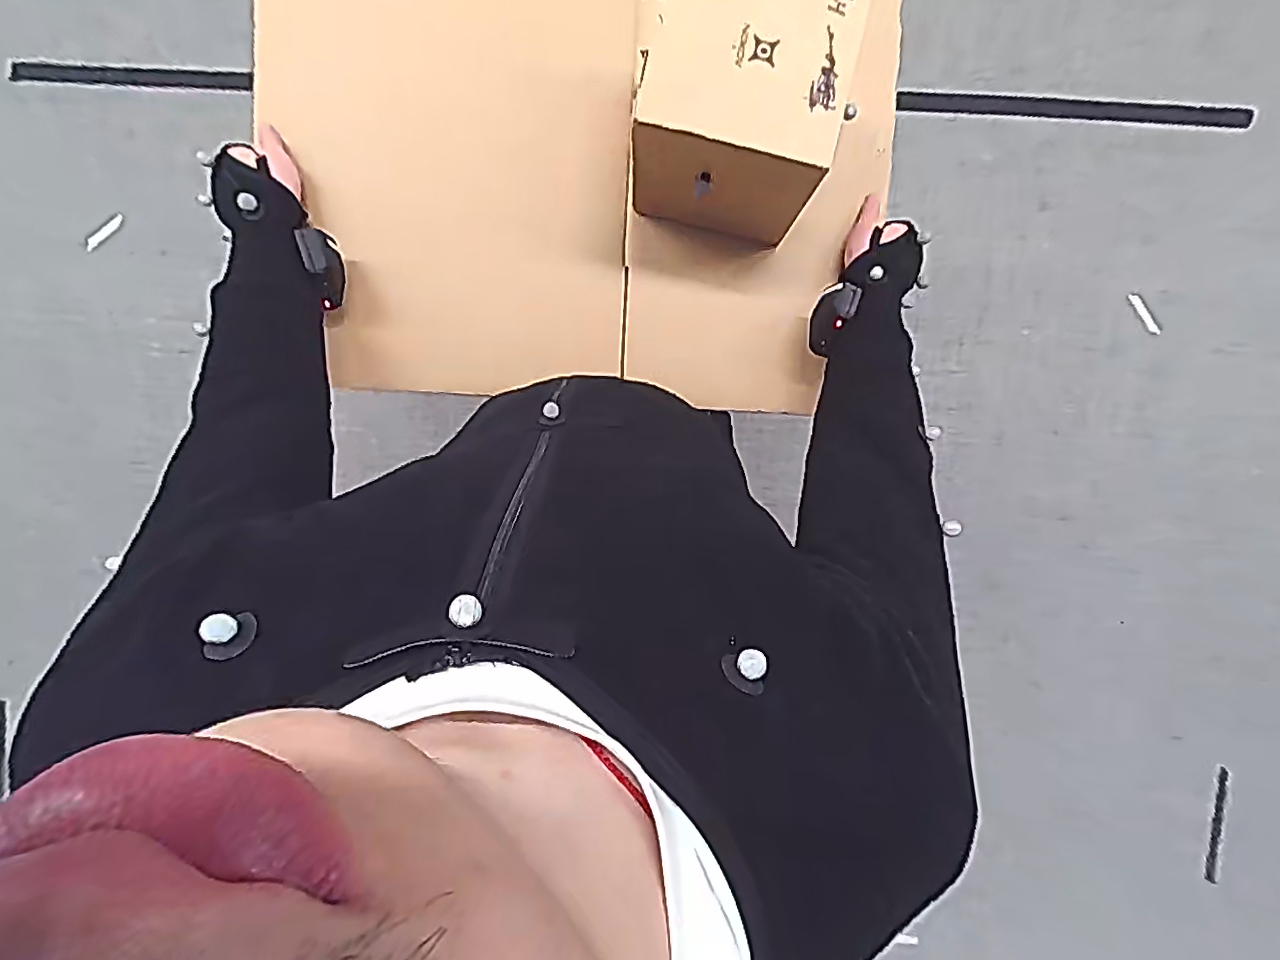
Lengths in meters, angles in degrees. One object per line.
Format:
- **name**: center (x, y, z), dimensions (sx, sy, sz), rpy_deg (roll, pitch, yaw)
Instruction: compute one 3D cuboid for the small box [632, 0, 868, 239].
- **small box**: center (0.096, -0.368, 0.544), dimensions (0.179, 0.176, 0.168), rpy_deg (13, 92, 0)
